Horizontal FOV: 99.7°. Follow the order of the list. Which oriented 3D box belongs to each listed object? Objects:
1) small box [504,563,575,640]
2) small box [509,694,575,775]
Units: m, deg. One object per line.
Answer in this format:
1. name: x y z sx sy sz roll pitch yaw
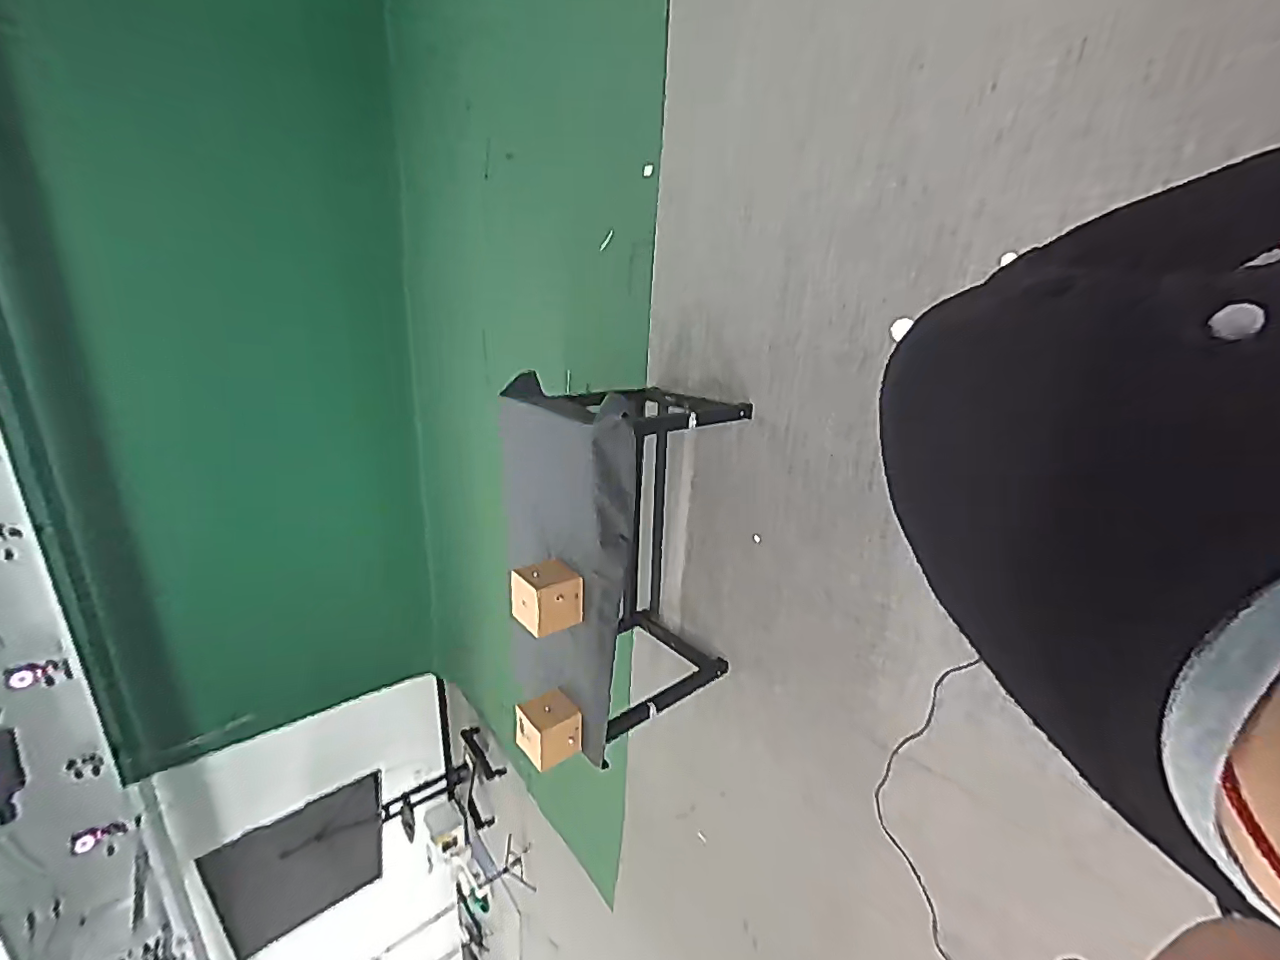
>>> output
1. small box: -0.322 0.384 1.745 0.179 0.176 0.168 22 115 48
2. small box: -0.346 0.882 1.902 0.179 0.176 0.168 22 116 46
